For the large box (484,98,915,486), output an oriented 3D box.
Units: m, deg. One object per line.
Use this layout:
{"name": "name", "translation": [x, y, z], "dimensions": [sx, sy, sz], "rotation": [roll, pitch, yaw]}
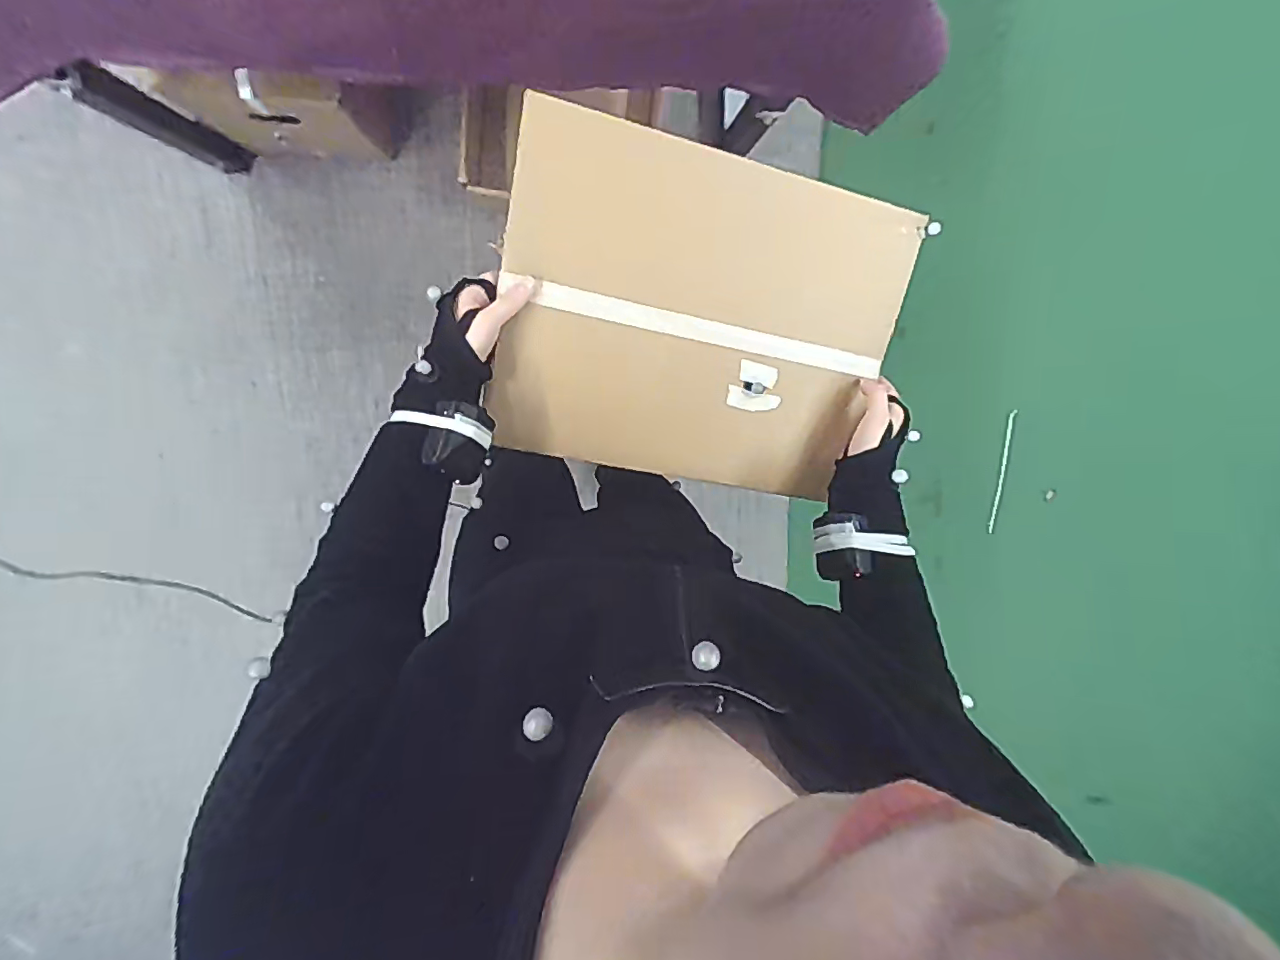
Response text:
{"name": "large box", "translation": [0.034, -0.205, 0.683], "dimensions": [0.408, 0.320, 0.320], "rotation": [8, 107, -13]}
